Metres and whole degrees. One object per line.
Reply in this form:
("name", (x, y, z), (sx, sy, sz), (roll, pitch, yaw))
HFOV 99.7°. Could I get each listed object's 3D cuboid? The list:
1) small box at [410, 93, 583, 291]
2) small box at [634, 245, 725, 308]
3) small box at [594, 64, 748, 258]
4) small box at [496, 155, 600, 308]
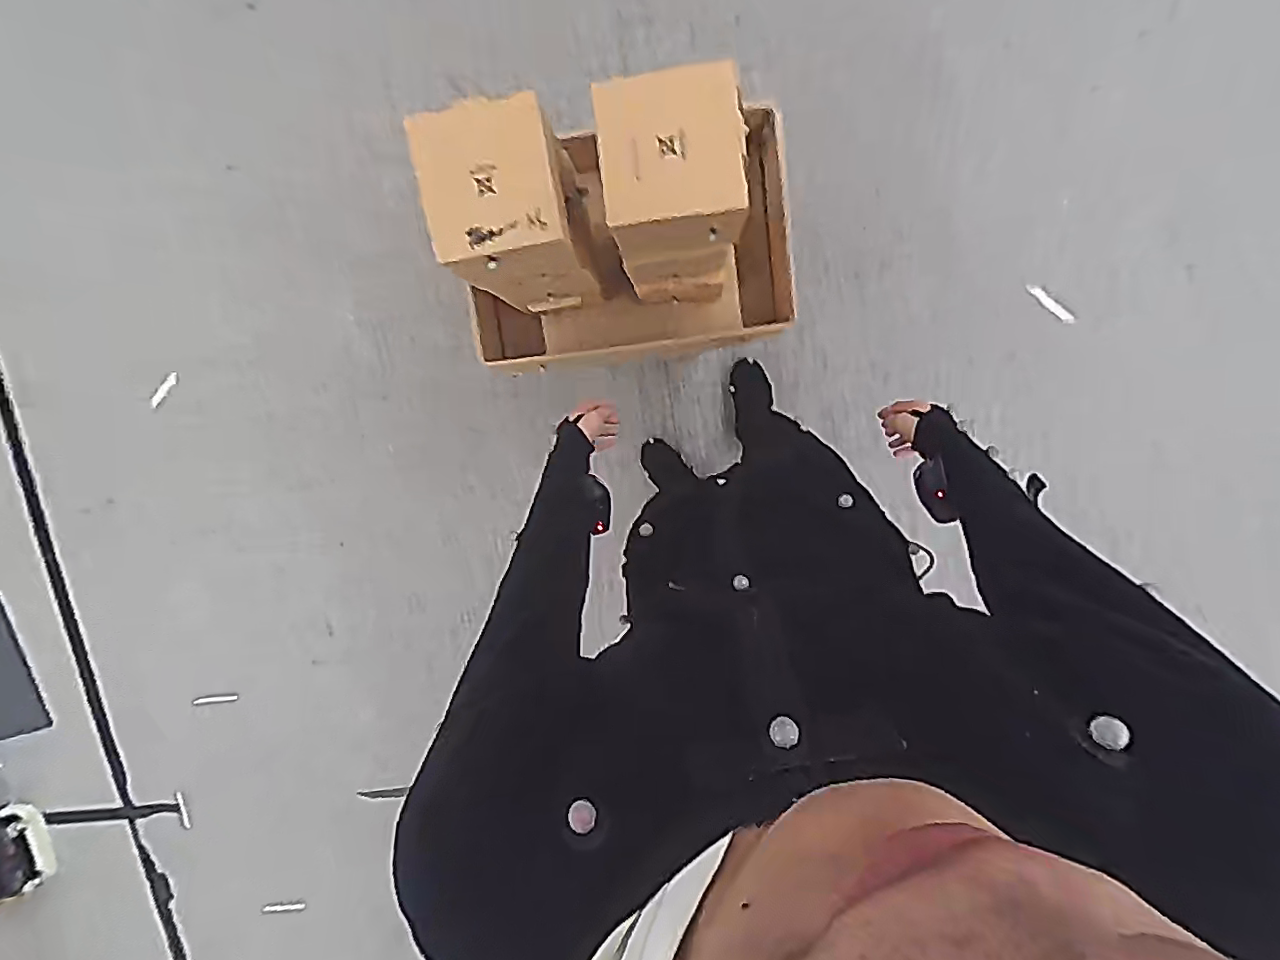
("small box", (-0.183, -0.376, 0.739), (0.168, 0.176, 0.179), (-9, 97, 6))
("small box", (0.075, -0.444, 1.050), (0.168, 0.176, 0.179), (-4, 99, 6))
("small box", (0.045, -0.410, 0.726), (0.179, 0.176, 0.168), (-5, 98, 7))
("small box", (-0.168, -0.401, 0.903), (0.168, 0.176, 0.179), (-9, 98, 4))
